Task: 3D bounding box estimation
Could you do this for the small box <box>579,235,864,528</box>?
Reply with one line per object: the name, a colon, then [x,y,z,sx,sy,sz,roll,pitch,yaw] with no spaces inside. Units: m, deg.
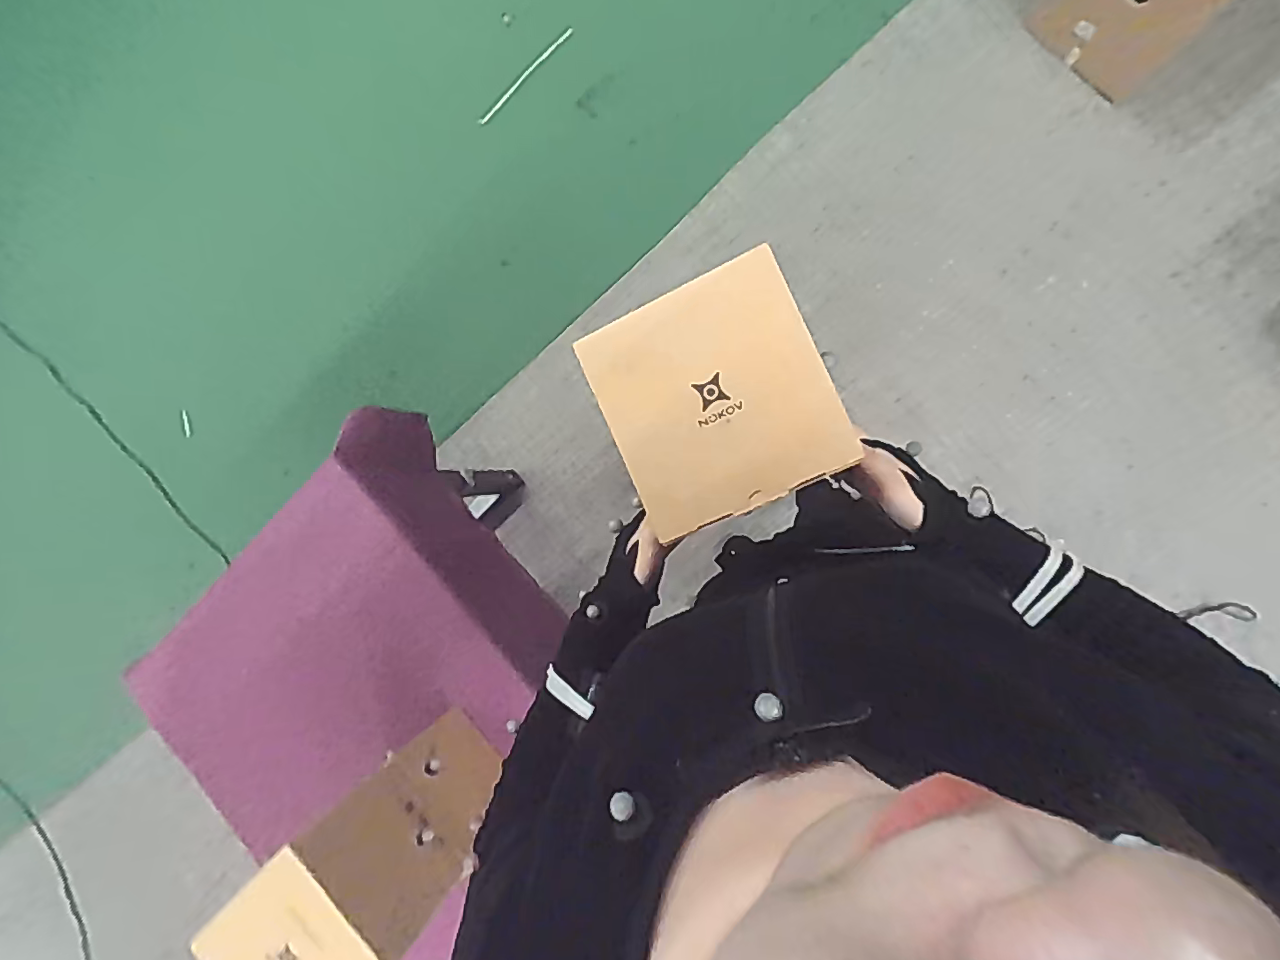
small box: [0.070,-0.075,0.484,0.168,0.176,0.179,-23,90,11]
